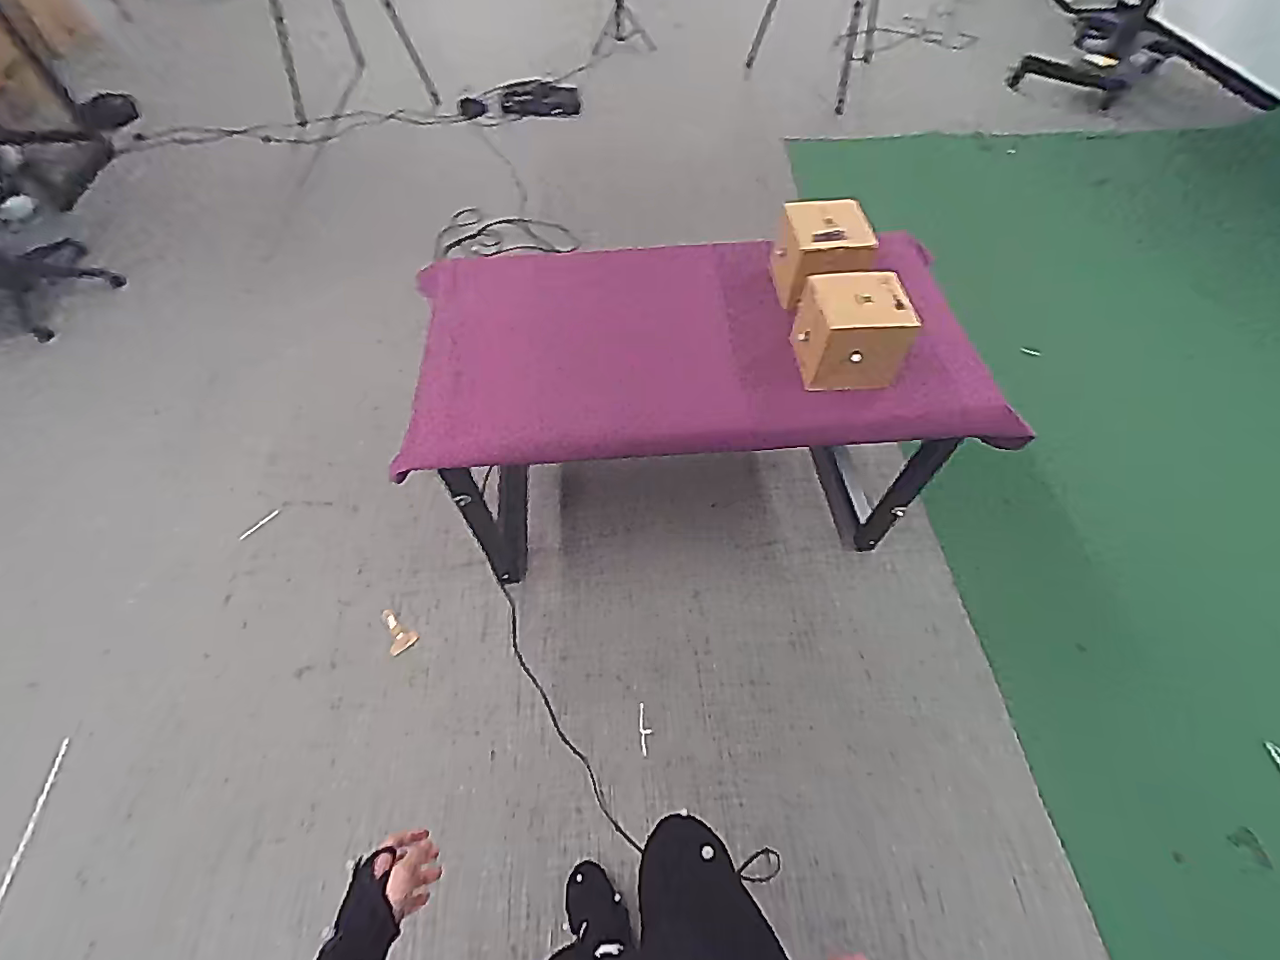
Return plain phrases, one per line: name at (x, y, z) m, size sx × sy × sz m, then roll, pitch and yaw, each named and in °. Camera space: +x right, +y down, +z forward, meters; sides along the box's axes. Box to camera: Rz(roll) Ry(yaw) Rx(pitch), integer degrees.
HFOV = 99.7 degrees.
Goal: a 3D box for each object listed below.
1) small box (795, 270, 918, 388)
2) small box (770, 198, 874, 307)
small box at (0.423, -0.301, 1.098) m, size 0.179 × 0.176 × 0.168 m, roll -3°, pitch 56°, yaw 0°
small box at (0.405, -0.511, 1.235) m, size 0.168 × 0.176 × 0.179 m, roll -4°, pitch 57°, yaw -2°
